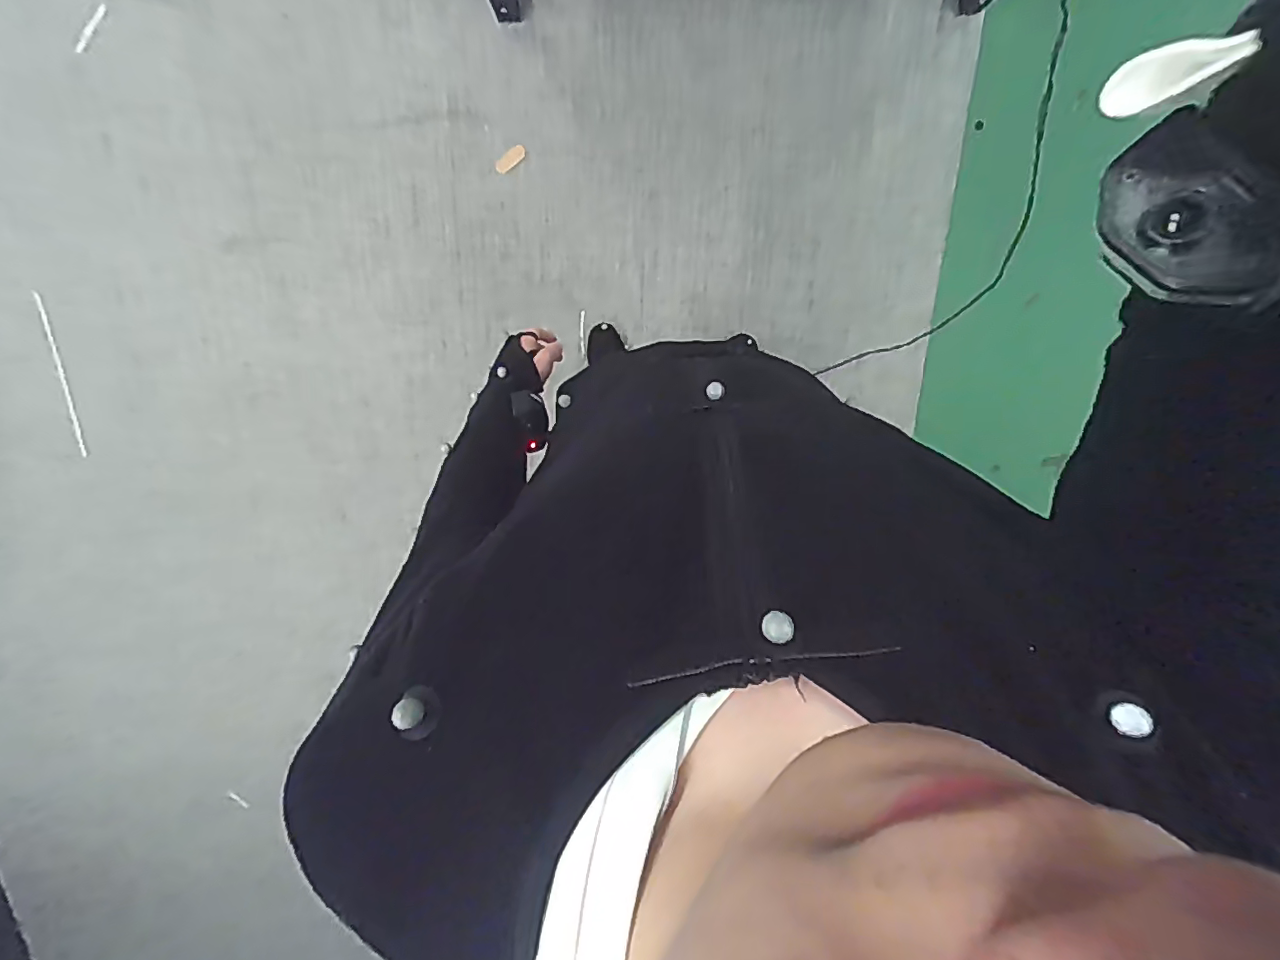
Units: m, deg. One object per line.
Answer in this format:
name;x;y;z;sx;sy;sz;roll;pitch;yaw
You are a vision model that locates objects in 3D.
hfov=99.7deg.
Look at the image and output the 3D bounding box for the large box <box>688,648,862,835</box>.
large box;0.410;0.822;1.734;0.408;0.320;0.320;-30;104;7
